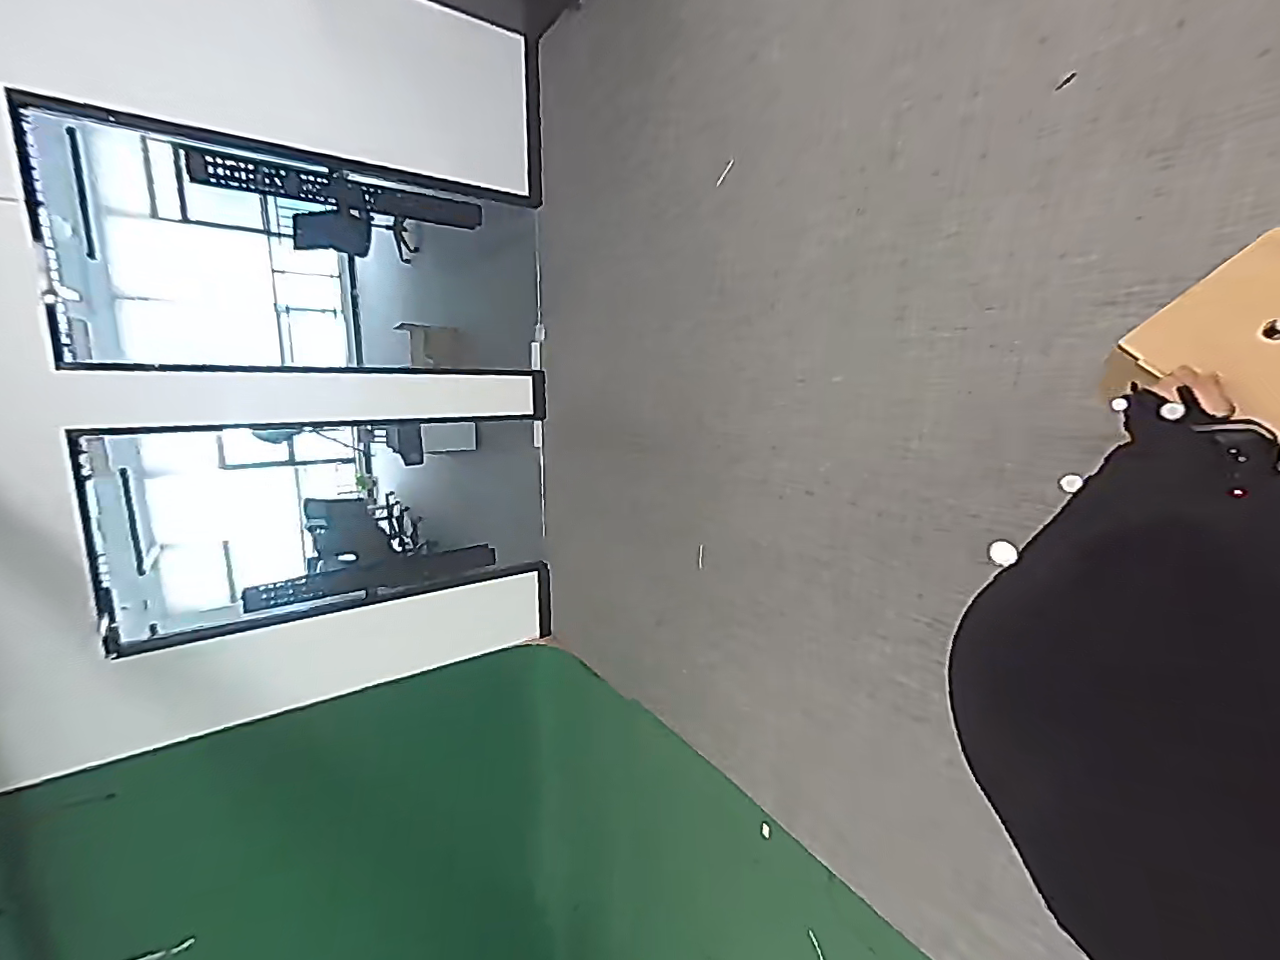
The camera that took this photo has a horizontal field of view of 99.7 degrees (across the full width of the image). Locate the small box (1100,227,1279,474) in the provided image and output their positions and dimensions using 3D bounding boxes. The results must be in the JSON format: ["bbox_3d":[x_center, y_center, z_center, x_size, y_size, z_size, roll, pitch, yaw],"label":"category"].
[{"bbox_3d":[0.668,-0.135,0.593,0.176,0.179,0.168,-44,59,18],"label":"small box"}]
